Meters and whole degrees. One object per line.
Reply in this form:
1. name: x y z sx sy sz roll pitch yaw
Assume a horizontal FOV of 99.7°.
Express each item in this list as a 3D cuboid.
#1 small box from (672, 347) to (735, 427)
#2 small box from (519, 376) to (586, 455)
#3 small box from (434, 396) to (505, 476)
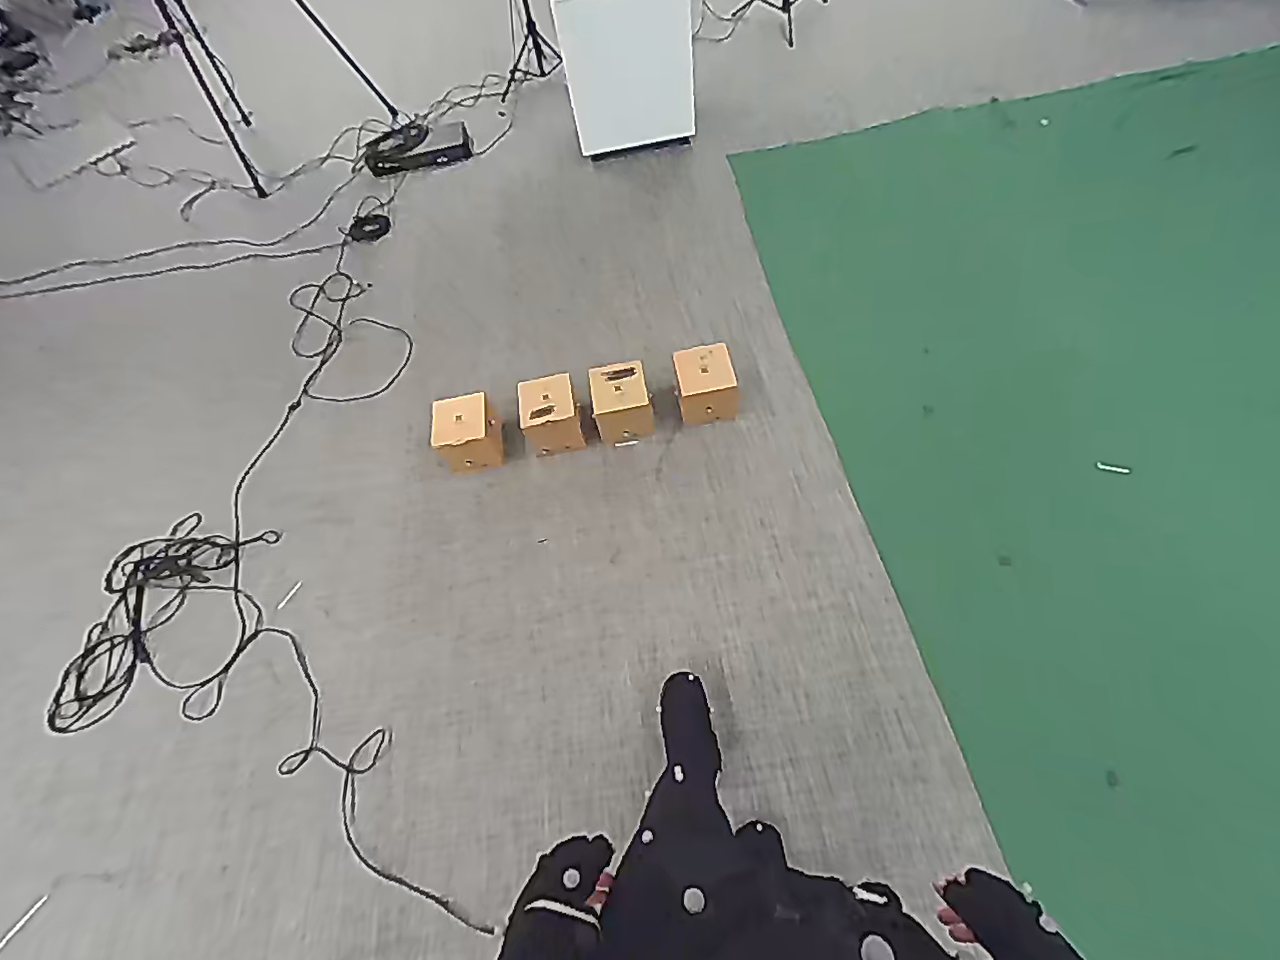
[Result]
1. small box: 0.199 -0.282 1.693 0.168 0.176 0.179 -10 60 2
2. small box: -0.274 -0.194 1.706 0.168 0.176 0.179 -12 59 2
3. small box: -0.534 -0.137 1.714 0.168 0.176 0.179 -11 60 2
